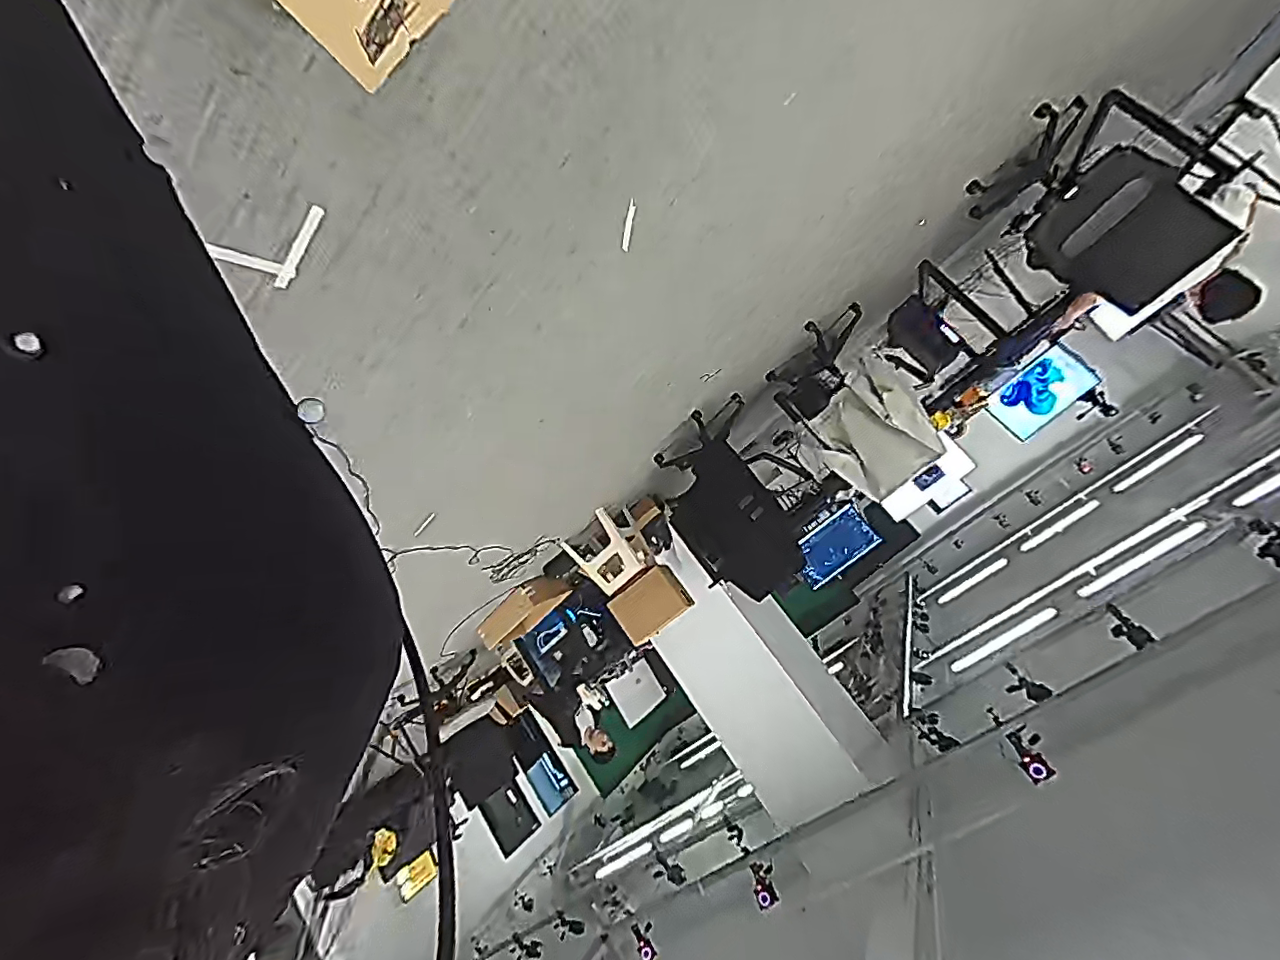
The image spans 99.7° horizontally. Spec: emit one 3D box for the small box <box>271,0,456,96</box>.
[{"bbox_3d":[-0.354,-0.605,0.611,0.168,0.176,0.179,-40,163,9],"label":"small box"}]
